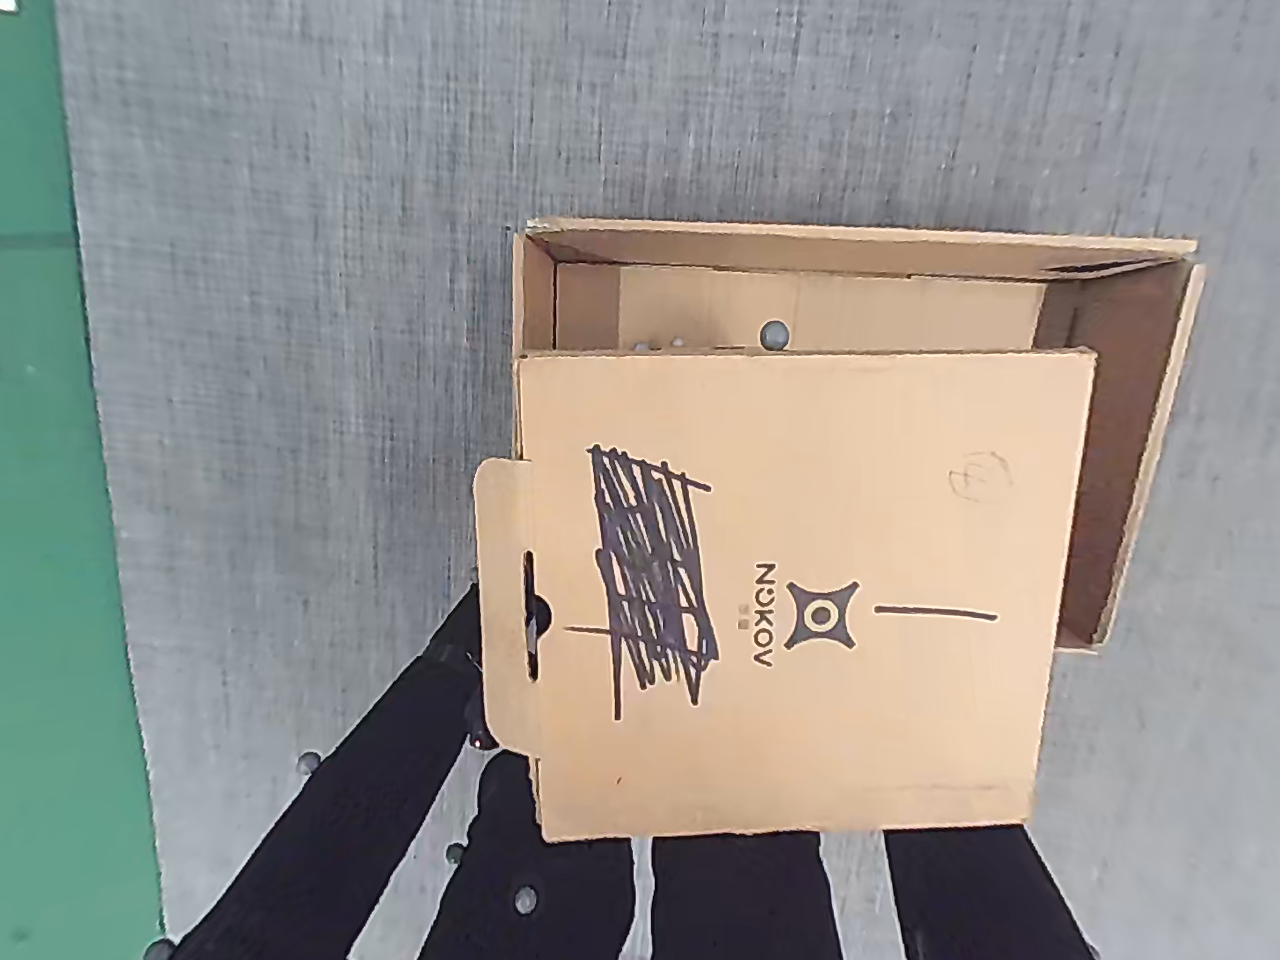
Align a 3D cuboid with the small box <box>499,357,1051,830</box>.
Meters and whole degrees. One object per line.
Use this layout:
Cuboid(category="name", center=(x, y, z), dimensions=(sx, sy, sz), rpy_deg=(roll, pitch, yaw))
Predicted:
Cuboid(category="small box", center=(0.043, 0.030, 0.260), dimensions=(0.179, 0.176, 0.168), rpy_deg=(-1, 101, -1))
